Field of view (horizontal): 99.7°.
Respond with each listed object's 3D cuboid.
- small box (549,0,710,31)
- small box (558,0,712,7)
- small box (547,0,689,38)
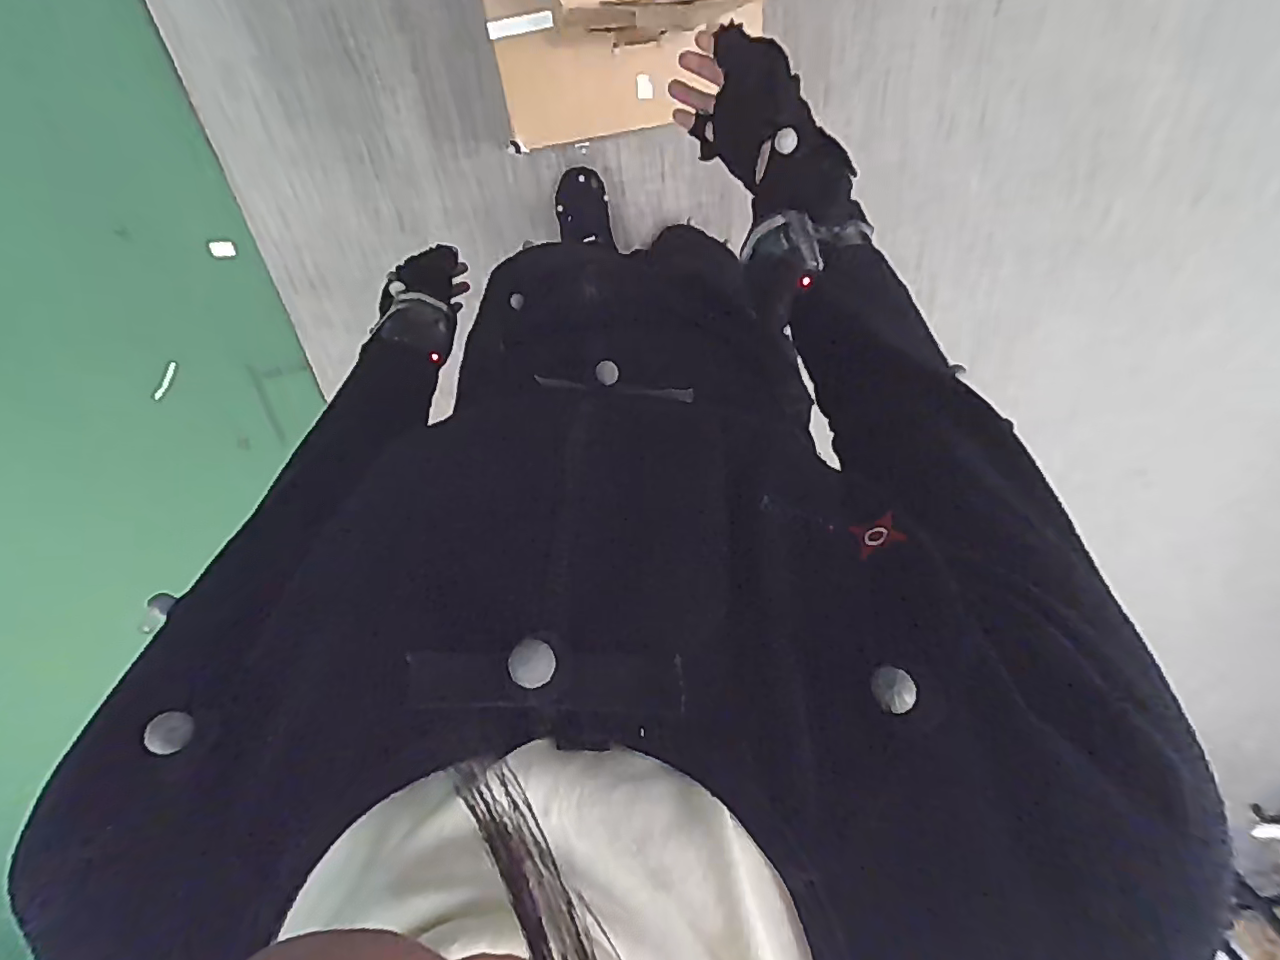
[{"bbox_3d":[-0.023,-0.585,0.558,0.168,0.176,0.179,-9,126,-3],"label":"small box"},{"bbox_3d":[0.003,-0.492,0.426,0.168,0.176,0.179,-7,128,-4],"label":"small box"},{"bbox_3d":[-0.035,-0.677,0.687,0.179,0.176,0.168,-5,126,-4],"label":"small box"}]
